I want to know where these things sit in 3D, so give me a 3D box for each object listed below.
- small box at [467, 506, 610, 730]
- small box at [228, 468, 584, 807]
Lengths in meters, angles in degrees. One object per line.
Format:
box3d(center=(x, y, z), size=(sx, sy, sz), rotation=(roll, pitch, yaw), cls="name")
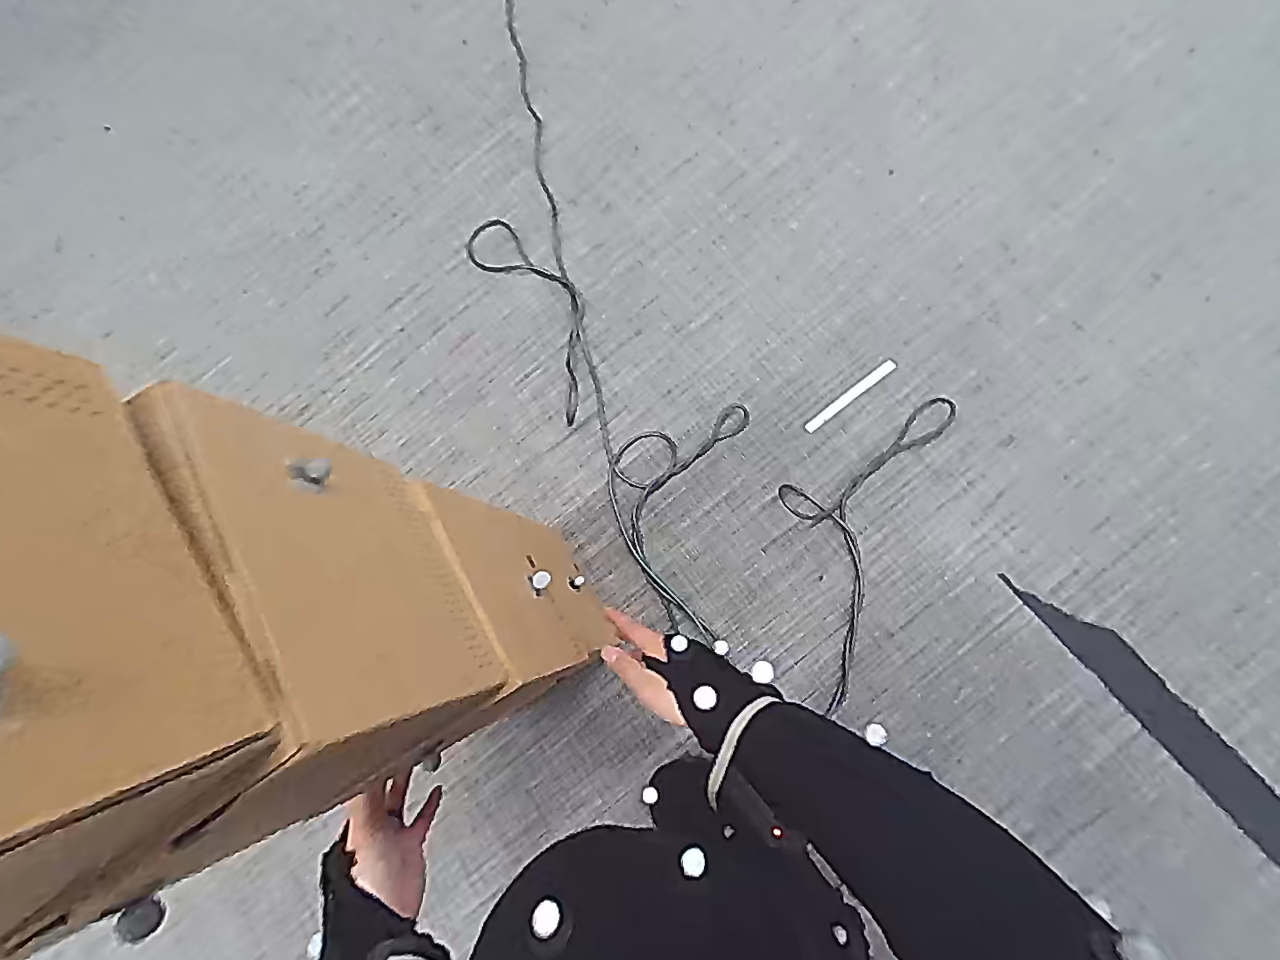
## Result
box3d(center=(-0.148, 0.152, 0.600), size=(0.179, 0.176, 0.168), rotation=(-33, 73, 2), cls="small box")
box3d(center=(-0.172, 0.119, 0.442), size=(0.179, 0.176, 0.168), rotation=(-32, 75, 1), cls="small box")
